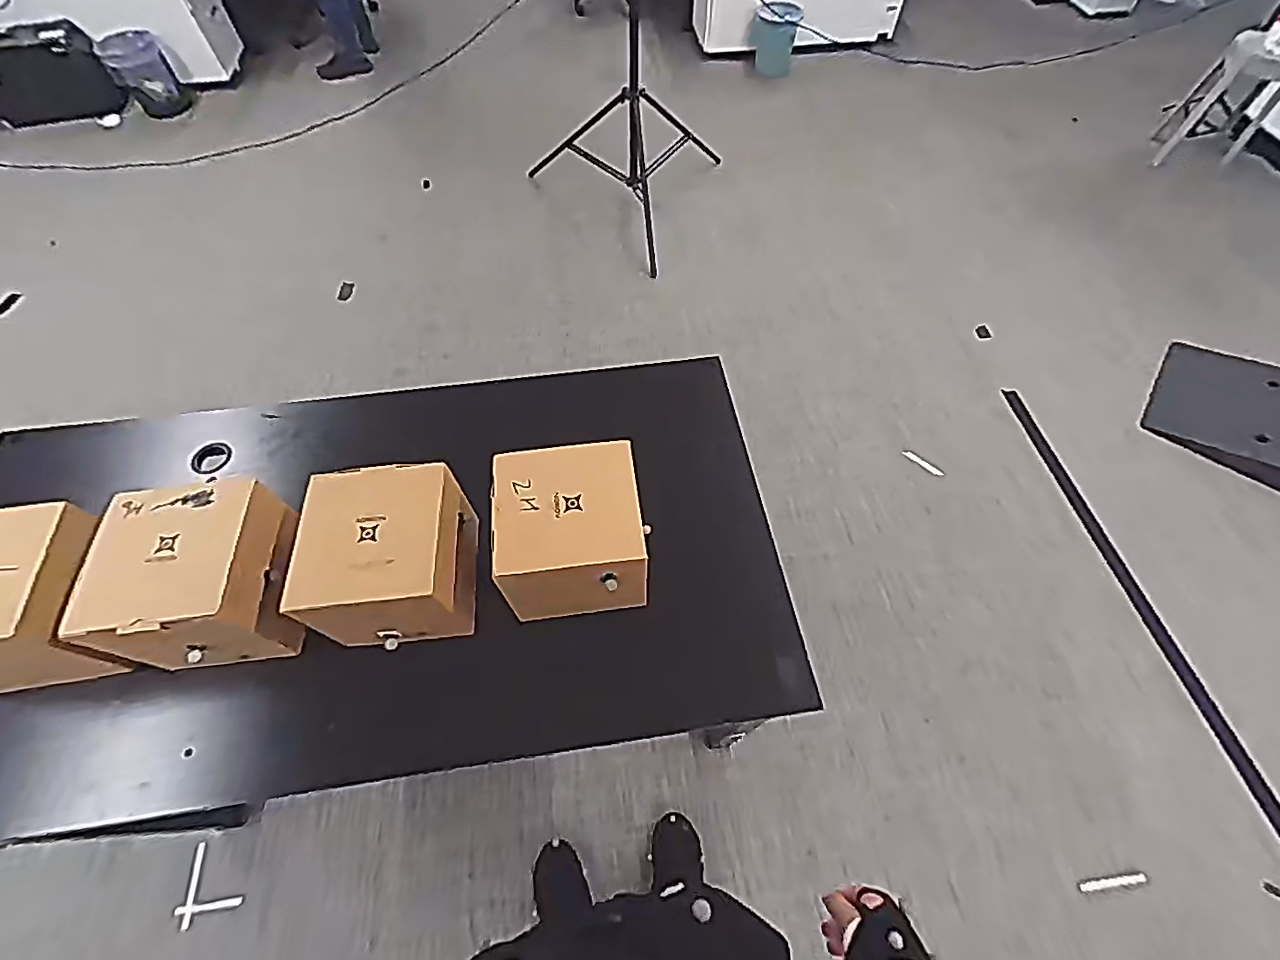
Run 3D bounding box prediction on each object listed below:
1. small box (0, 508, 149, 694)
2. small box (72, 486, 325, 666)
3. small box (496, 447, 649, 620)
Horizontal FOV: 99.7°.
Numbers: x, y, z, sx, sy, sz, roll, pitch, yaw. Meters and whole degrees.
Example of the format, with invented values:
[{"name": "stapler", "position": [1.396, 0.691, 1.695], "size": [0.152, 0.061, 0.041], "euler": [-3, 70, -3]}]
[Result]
[{"name": "small box", "position": [-0.747, 0.156, 0.672], "size": [0.179, 0.176, 0.168], "euler": [-8, 59, -6]}, {"name": "small box", "position": [-0.534, 0.130, 0.689], "size": [0.168, 0.176, 0.179], "euler": [-7, 60, -3]}, {"name": "small box", "position": [-0.085, 0.076, 0.720], "size": [0.179, 0.176, 0.168], "euler": [-6, 59, -4]}]
